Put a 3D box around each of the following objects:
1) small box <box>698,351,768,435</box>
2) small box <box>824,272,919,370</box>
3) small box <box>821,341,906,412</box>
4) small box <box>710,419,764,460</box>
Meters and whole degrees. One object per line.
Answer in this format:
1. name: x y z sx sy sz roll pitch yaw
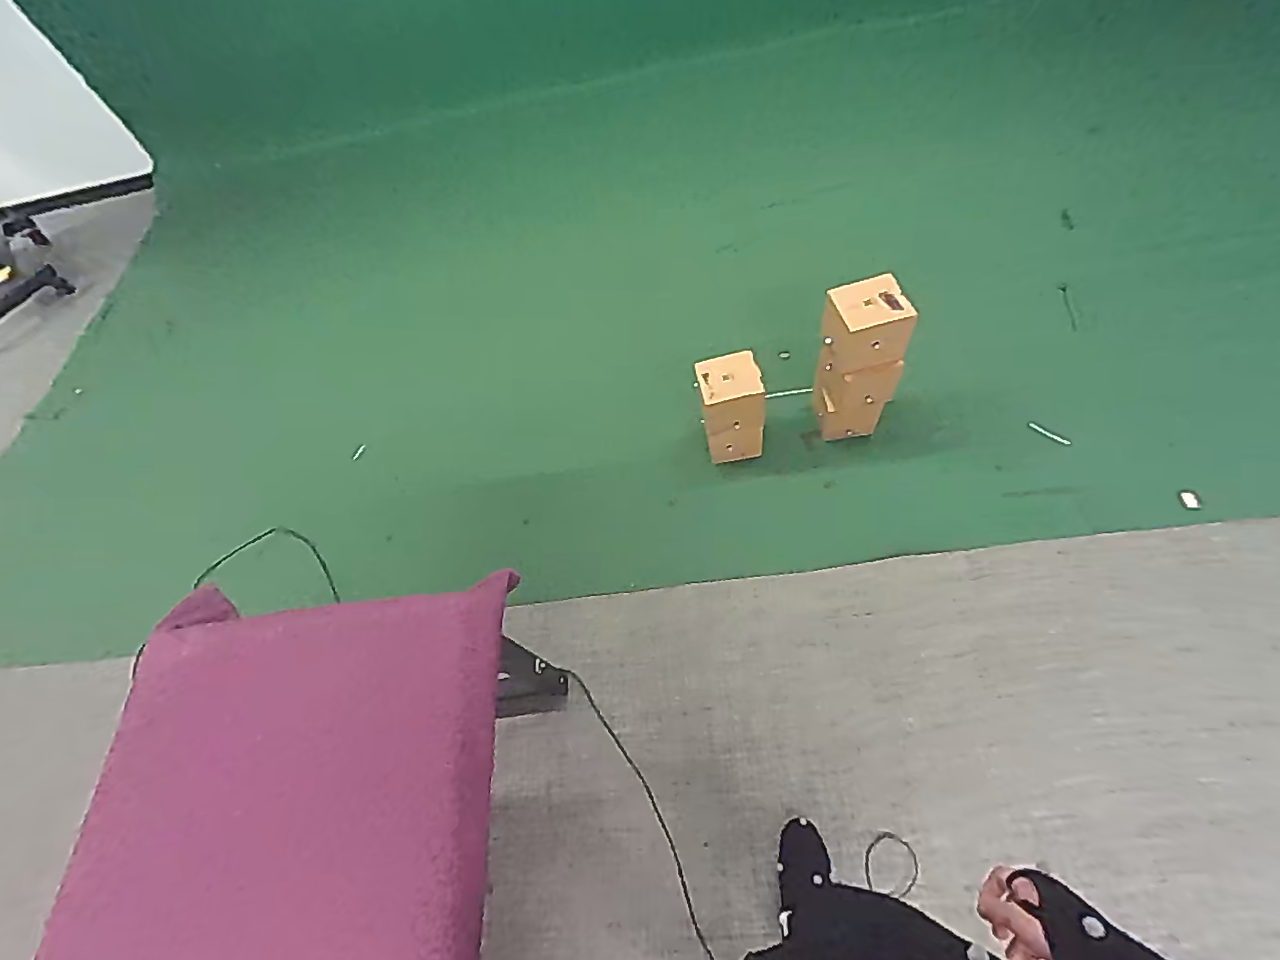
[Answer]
1. small box: 0.278 -0.260 1.639 0.179 0.176 0.168 -12 59 4
2. small box: 0.618 -0.427 1.470 0.179 0.176 0.168 -15 59 4
3. small box: 0.651 -0.332 1.602 0.168 0.176 0.179 -17 59 2
4. small box: 0.312 -0.180 1.778 0.168 0.176 0.179 -10 59 6
